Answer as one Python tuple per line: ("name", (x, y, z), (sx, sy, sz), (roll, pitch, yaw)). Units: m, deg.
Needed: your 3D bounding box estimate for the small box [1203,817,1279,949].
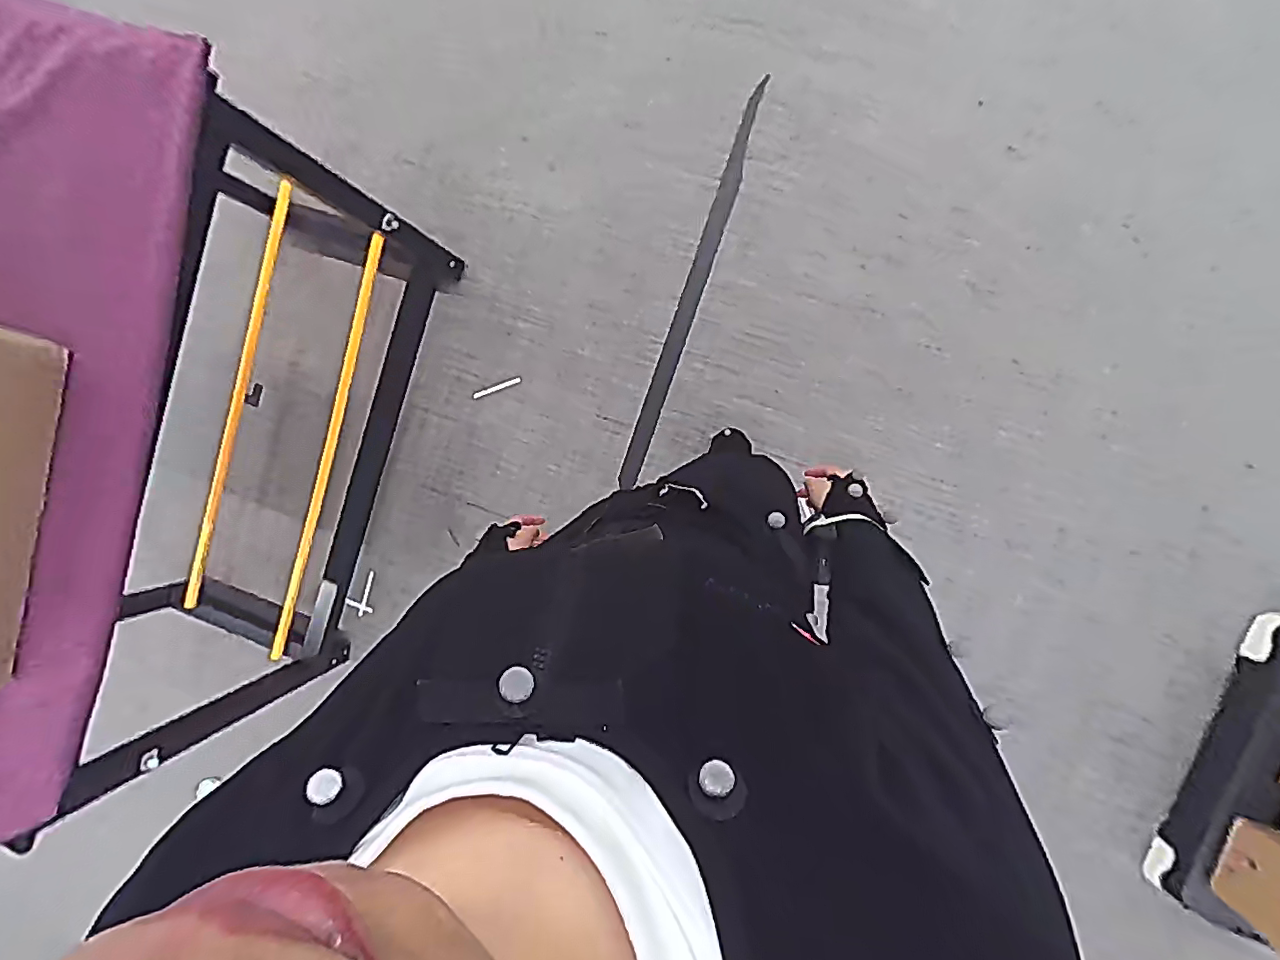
("small box", (1.279, 0.798, 1.046), (0.179, 0.176, 0.168), (17, 95, 9))
